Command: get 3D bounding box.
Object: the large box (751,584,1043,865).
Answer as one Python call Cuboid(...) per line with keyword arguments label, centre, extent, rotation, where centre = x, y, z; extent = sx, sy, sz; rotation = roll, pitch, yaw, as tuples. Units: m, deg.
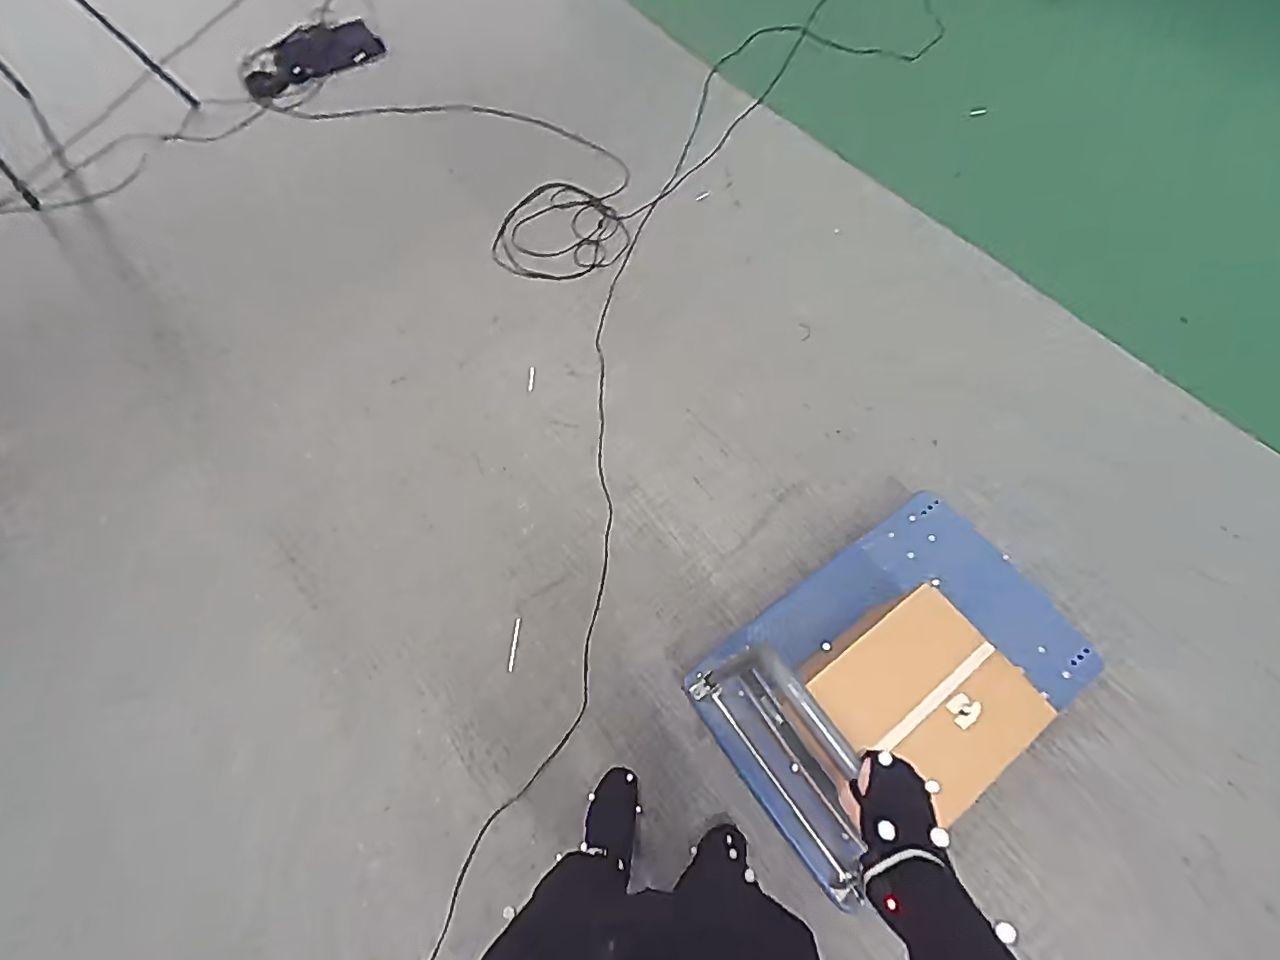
Cuboid(label="large box", centre=(0.501, 0.491, 1.134), extent=(0.408, 0.320, 0.320), rotation=(-34, 70, -14))
